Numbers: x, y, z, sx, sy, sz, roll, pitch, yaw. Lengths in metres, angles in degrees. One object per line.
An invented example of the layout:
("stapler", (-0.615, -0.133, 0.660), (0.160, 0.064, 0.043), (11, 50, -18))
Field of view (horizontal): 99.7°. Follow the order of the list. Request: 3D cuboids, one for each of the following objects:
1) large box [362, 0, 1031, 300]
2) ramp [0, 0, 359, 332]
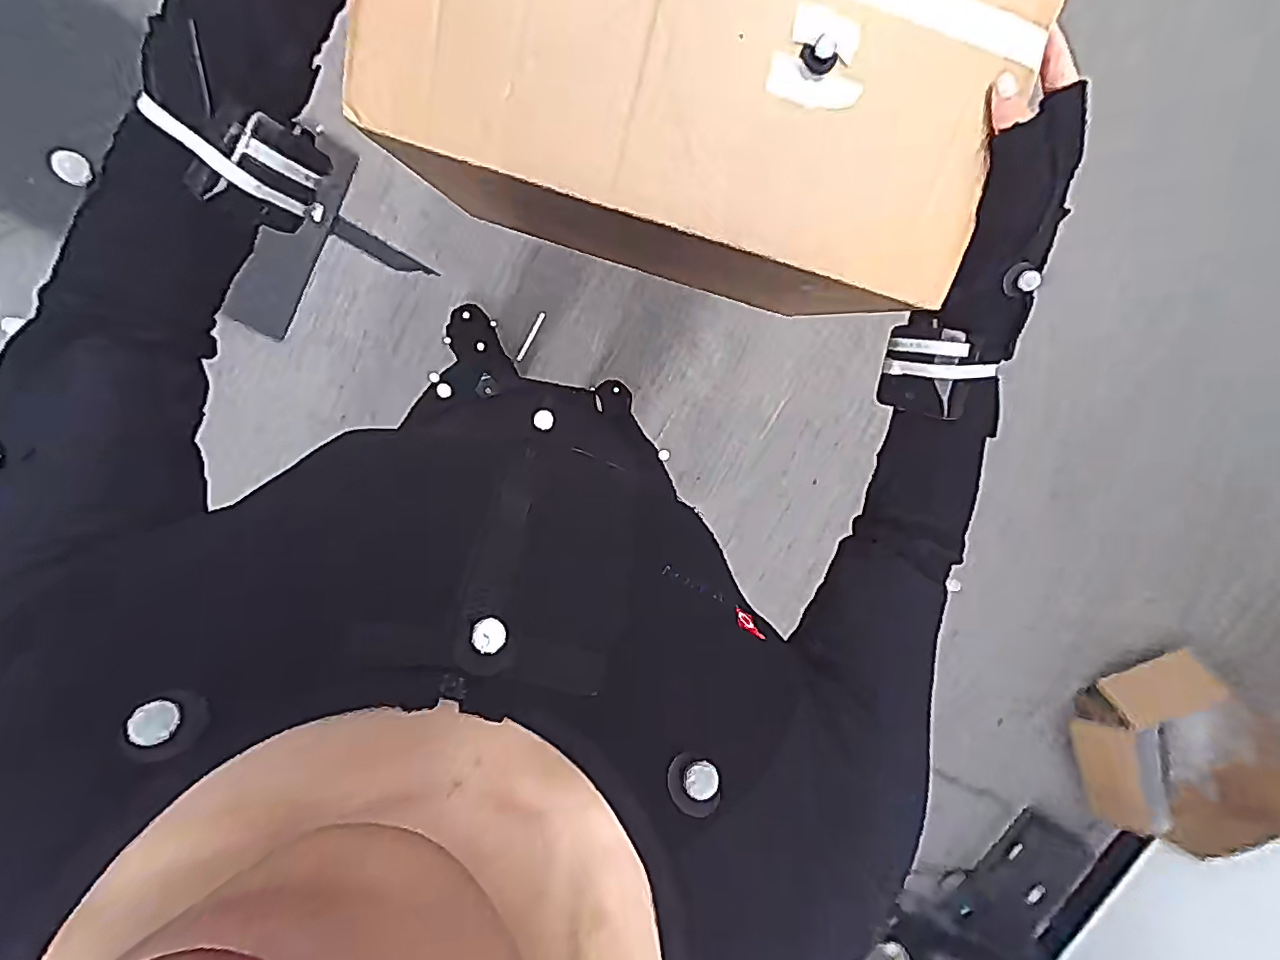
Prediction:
("large box", (0.039, -0.366, 0.469), (0.408, 0.320, 0.320), (13, 105, -8))
("ramp", (-1.196, -0.781, 1.156), (0.991, 0.206, 0.509), (26, 99, -10))
